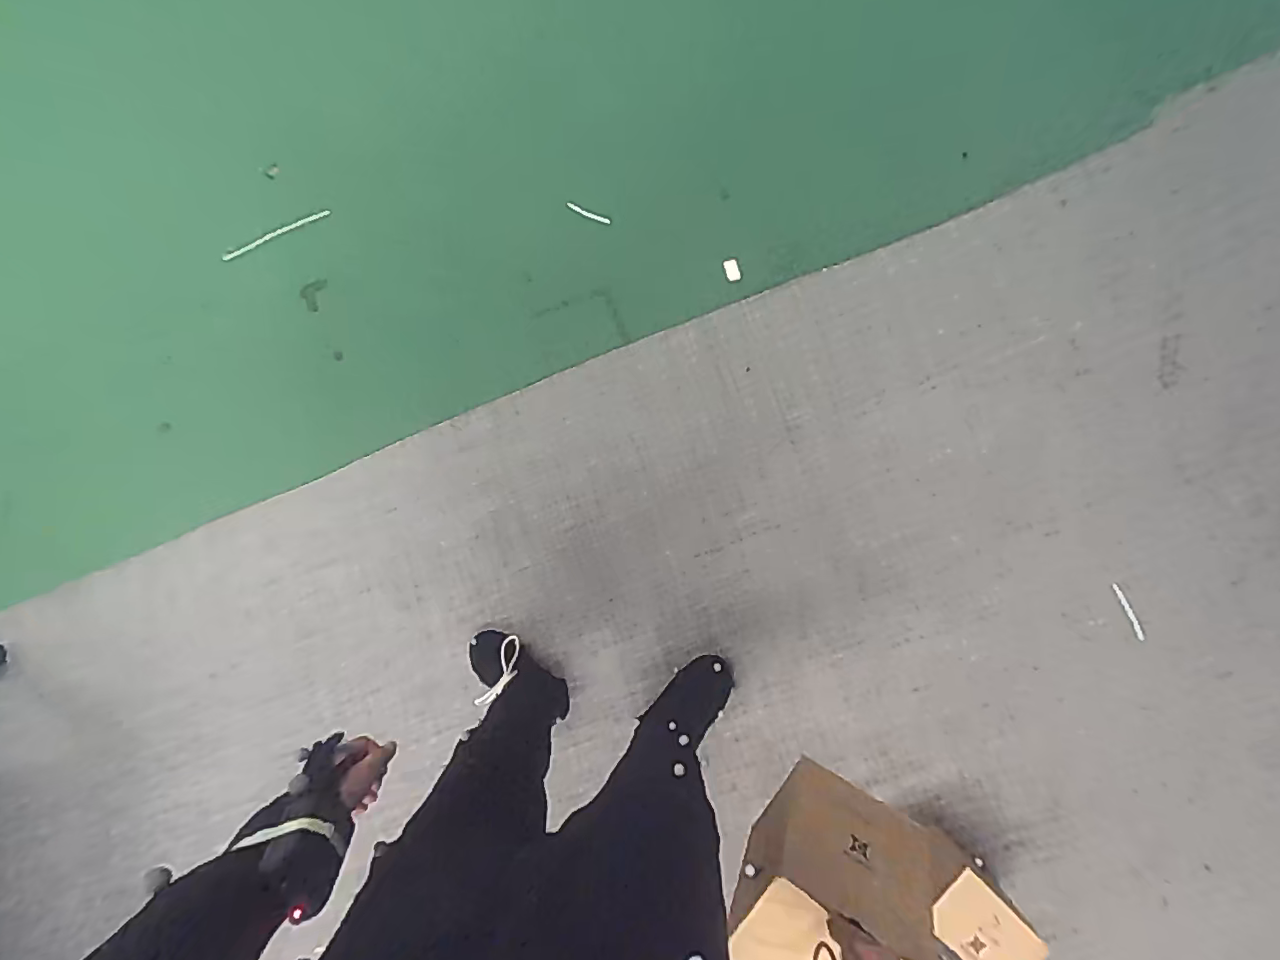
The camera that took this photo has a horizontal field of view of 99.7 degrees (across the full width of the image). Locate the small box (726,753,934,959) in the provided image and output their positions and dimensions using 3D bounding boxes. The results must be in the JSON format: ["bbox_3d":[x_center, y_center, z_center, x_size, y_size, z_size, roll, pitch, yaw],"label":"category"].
[{"bbox_3d":[0.218,0.478,0.635,0.168,0.179,0.176,28,117,15],"label":"small box"}]
